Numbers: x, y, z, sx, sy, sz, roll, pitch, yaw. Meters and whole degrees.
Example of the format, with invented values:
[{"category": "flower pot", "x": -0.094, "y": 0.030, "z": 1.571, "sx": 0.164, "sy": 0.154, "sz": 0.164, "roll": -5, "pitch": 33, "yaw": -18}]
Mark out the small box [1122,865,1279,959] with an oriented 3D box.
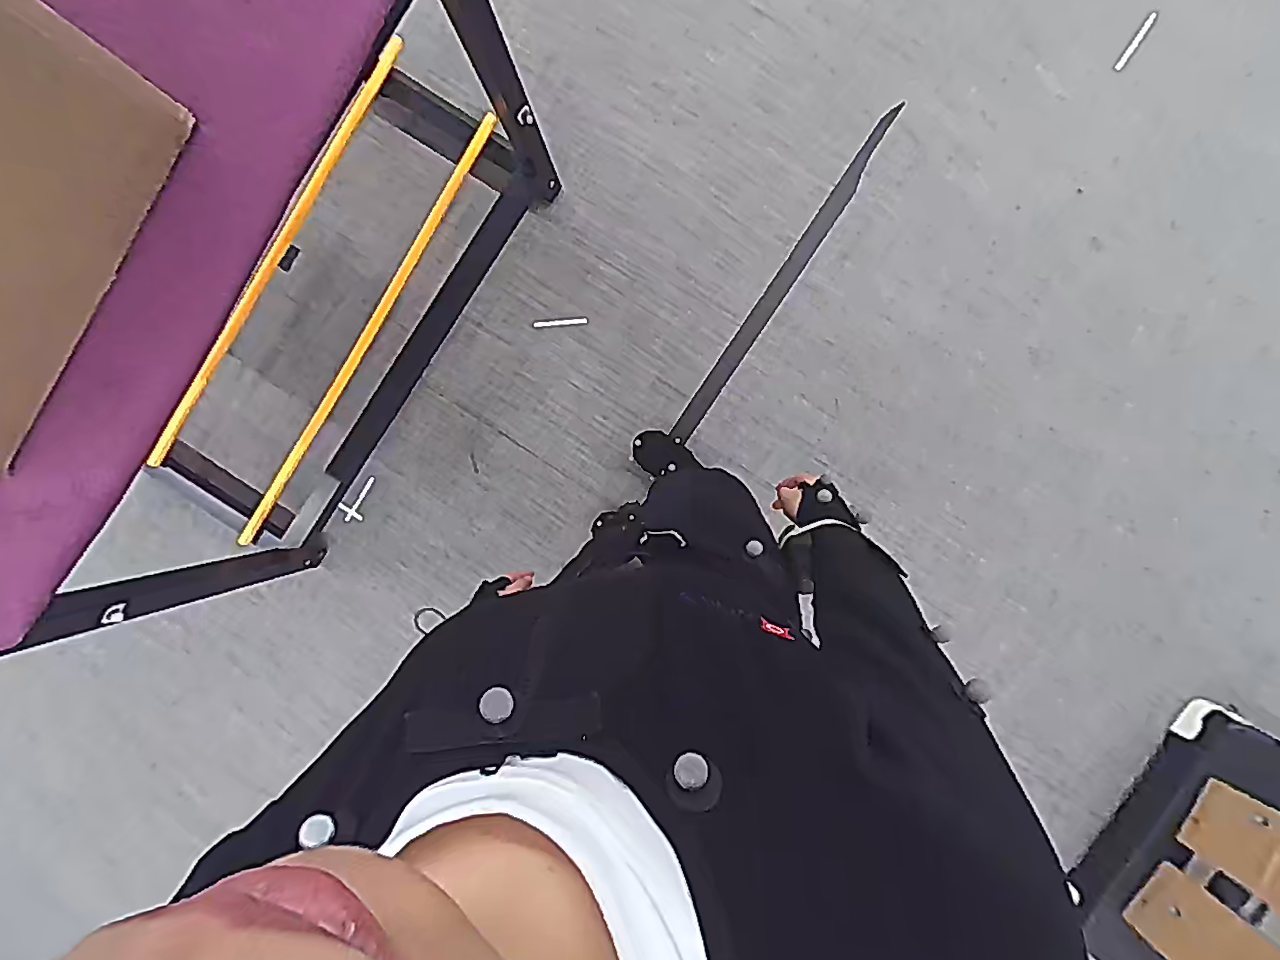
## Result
[{"category": "small box", "x": 1.218, "y": 0.987, "z": 1.167, "sx": 0.179, "sy": 0.176, "sz": 0.168, "roll": 37, "pitch": 92, "yaw": 1}]
